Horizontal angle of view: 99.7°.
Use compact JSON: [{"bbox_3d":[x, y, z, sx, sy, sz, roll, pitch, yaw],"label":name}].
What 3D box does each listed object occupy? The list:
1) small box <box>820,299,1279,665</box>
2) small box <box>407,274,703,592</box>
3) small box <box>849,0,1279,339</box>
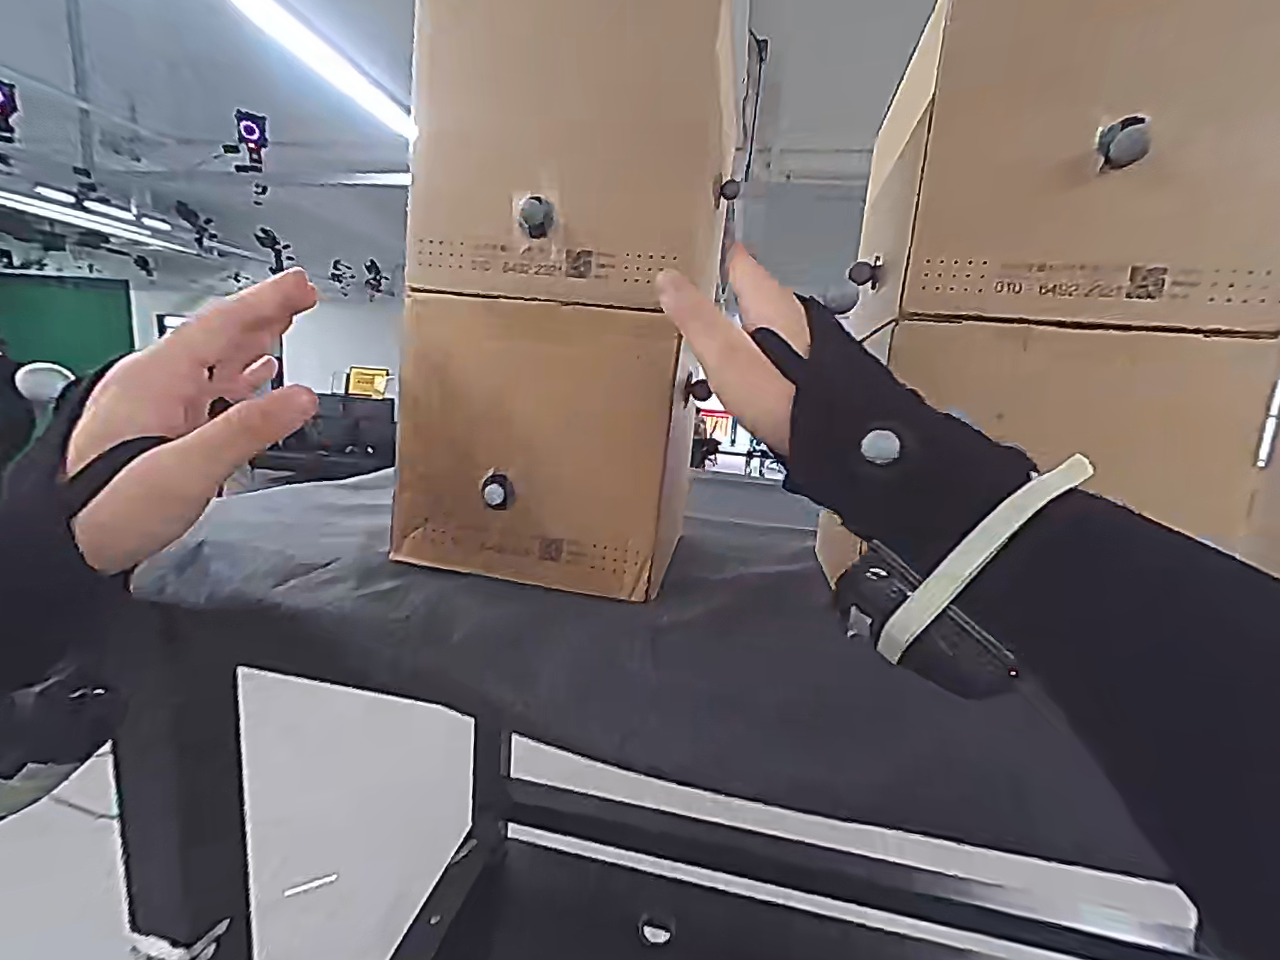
[{"bbox_3d":[0.216,-0.008,0.345,0.168,0.176,0.179,6,8,11],"label":"small box"},{"bbox_3d":[-0.050,-0.035,0.389,0.168,0.176,0.179,7,8,8],"label":"small box"},{"bbox_3d":[0.233,-0.170,0.324,0.168,0.176,0.179,7,8,11],"label":"small box"}]
